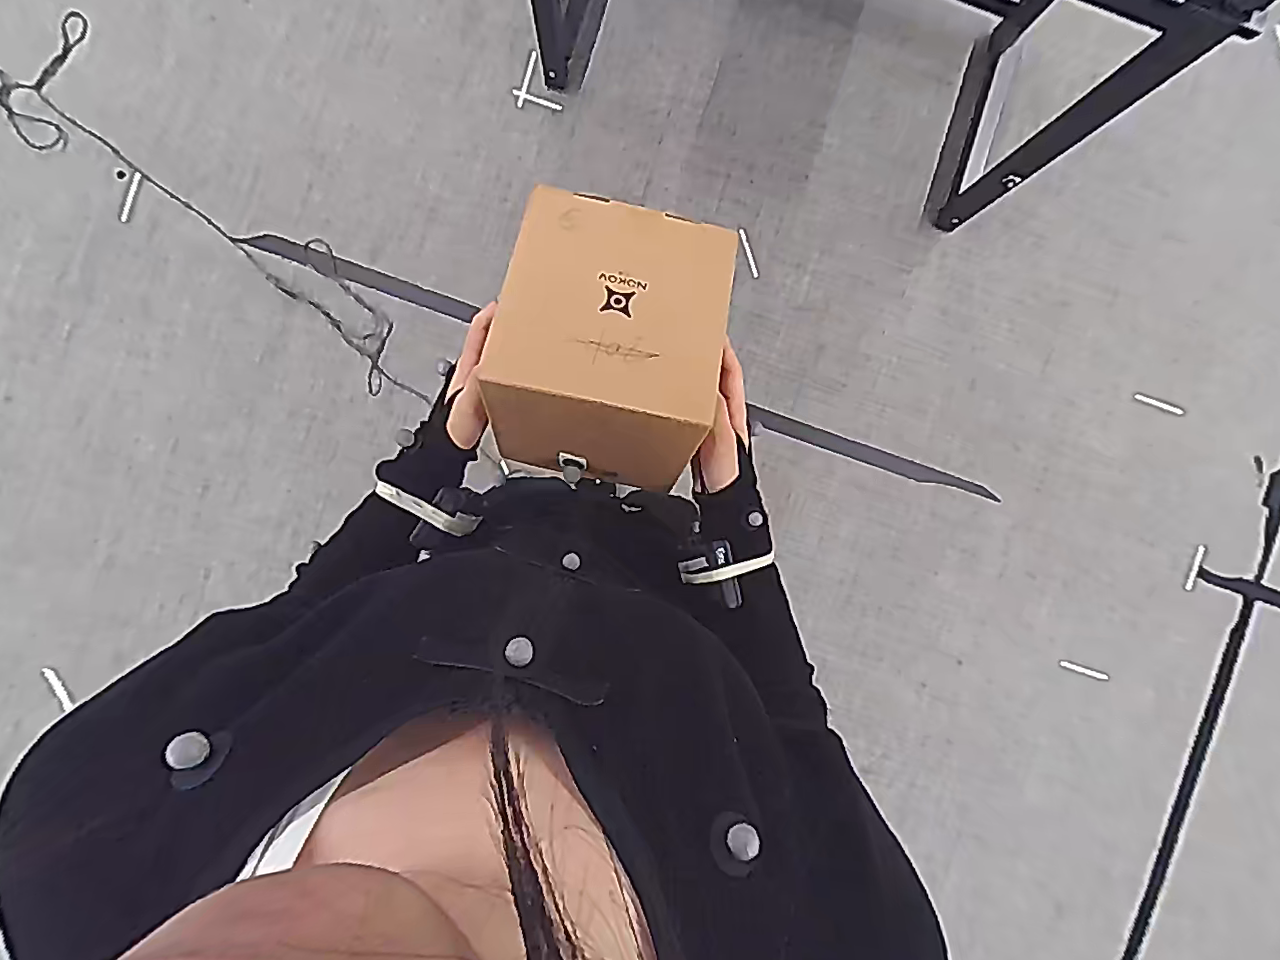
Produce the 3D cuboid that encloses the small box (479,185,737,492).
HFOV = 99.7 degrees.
[{"bbox_3d":[-0.026,-0.106,0.468,0.168,0.176,0.179,11,71,-4],"label":"small box"}]

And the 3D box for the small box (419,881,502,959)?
[{"bbox_3d":[-0.479,1.222,1.427,0.168,0.176,0.179,21,90,-4],"label":"small box"}]

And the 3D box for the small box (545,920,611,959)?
[{"bbox_3d":[-0.169,1.330,1.450,0.179,0.176,0.168,6,91,-4],"label":"small box"}]
